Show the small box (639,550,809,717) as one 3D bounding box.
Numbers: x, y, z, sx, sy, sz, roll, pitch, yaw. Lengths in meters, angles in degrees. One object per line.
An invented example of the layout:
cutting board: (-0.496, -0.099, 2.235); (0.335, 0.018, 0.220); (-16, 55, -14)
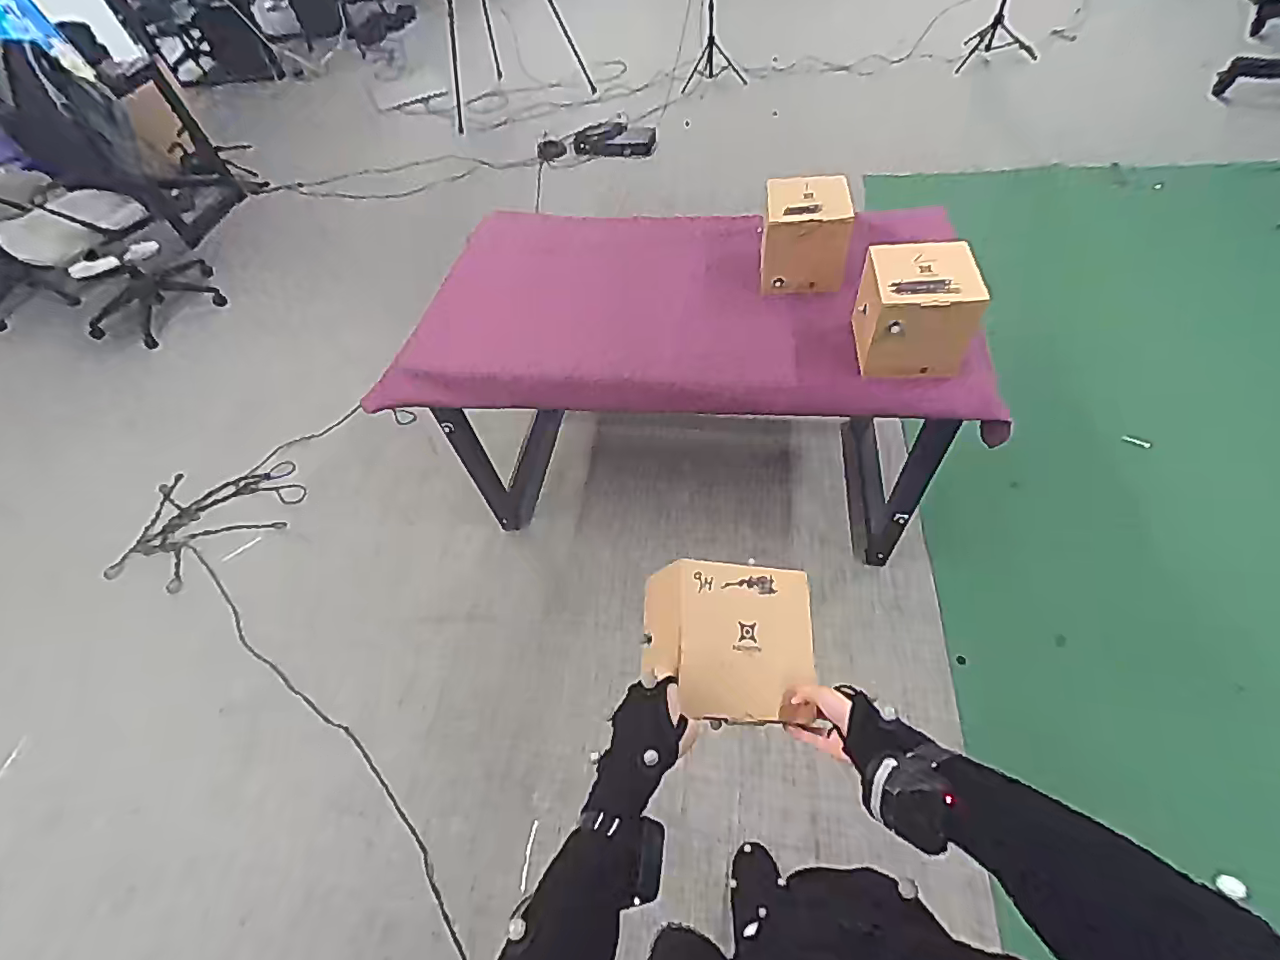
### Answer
small box: (0.098, 0.196, 0.691); (0.168, 0.176, 0.179); (7, 71, -12)

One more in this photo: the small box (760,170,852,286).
small box: (0.350, -0.536, 1.164); (0.168, 0.176, 0.179); (2, 54, 9)
